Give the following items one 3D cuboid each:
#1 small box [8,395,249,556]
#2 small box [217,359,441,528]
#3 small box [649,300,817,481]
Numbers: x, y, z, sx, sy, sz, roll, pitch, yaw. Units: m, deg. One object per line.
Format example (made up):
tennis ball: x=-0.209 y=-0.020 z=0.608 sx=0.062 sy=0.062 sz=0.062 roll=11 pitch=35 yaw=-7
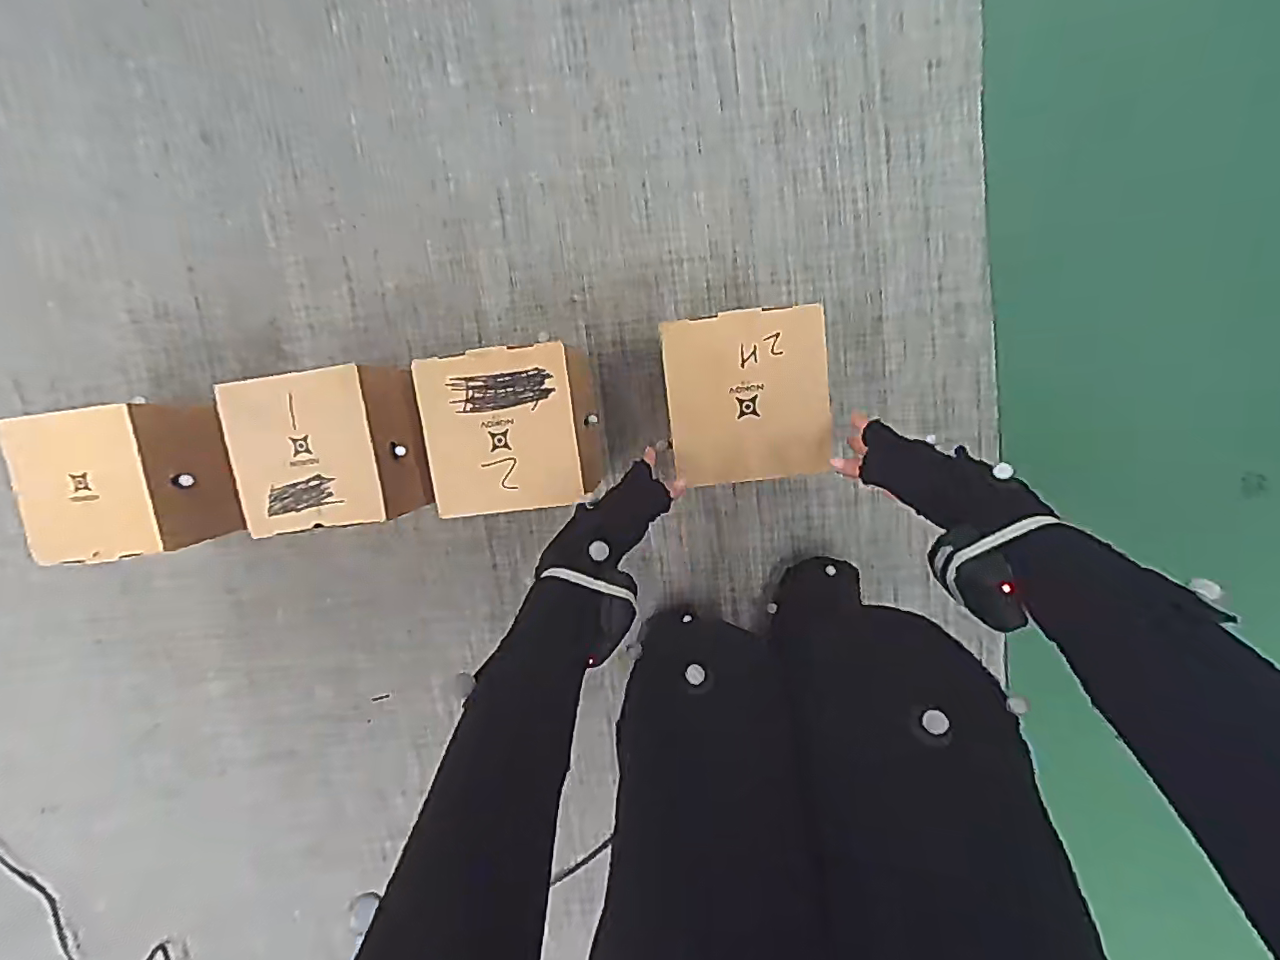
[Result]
small box: x=-0.635 y=-0.013 z=0.708 sx=0.168 sy=0.176 sz=0.179 roll=-7 pitch=98 yaw=5
small box: x=-0.372 y=-0.049 z=0.682 sx=0.168 sy=0.176 sz=0.179 roll=-7 pitch=97 yaw=6
small box: x=0.104 y=-0.103 z=0.644 sx=0.168 sy=0.176 sz=0.179 roll=-6 pitch=98 yaw=4
